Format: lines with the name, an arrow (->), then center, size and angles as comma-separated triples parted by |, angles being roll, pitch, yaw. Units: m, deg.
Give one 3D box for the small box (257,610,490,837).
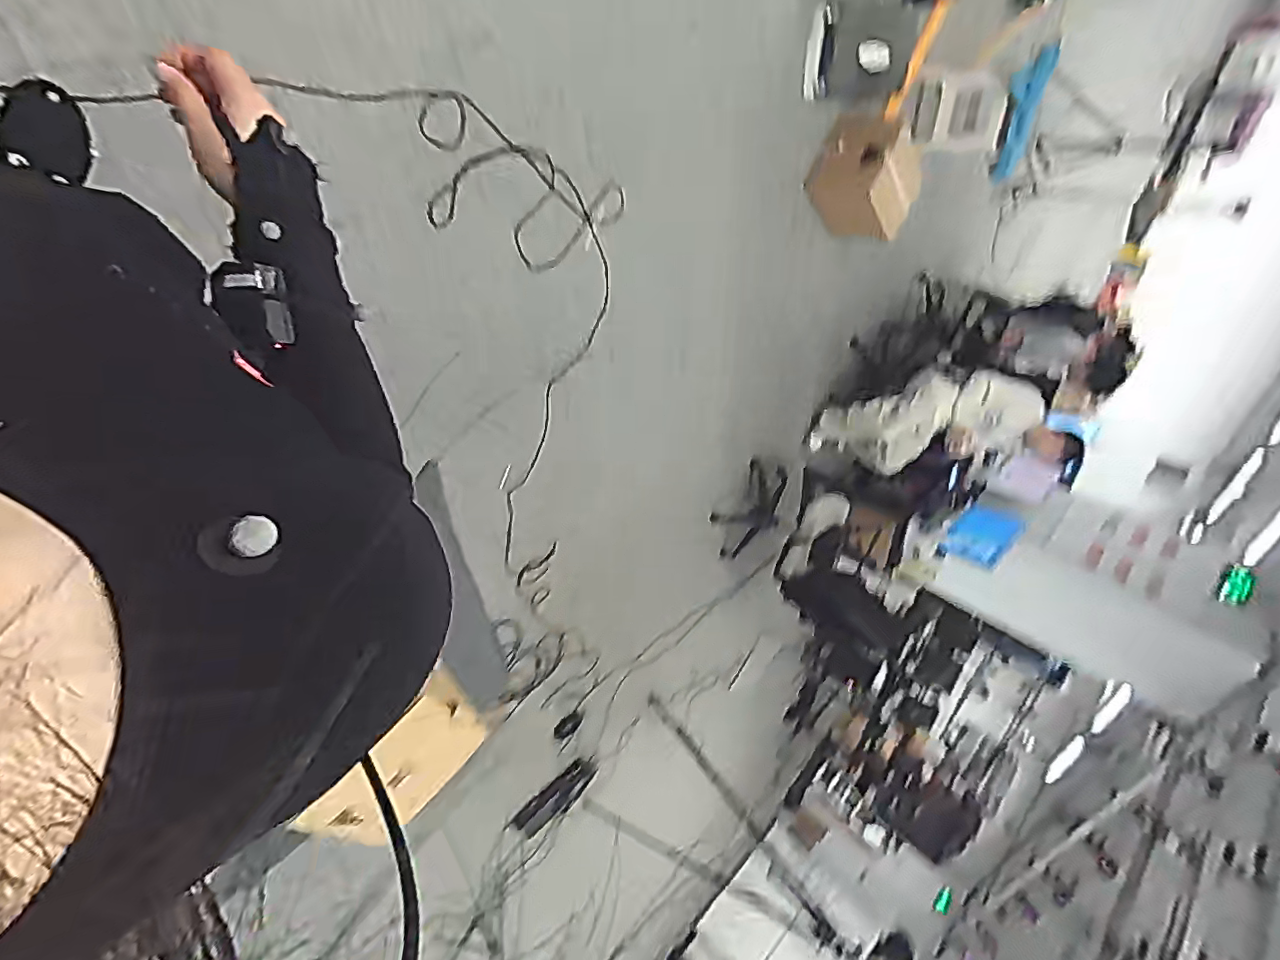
small box -> -0.332, 0.298, 0.681 | 0.179, 0.176, 0.168 | -44, 141, -20
